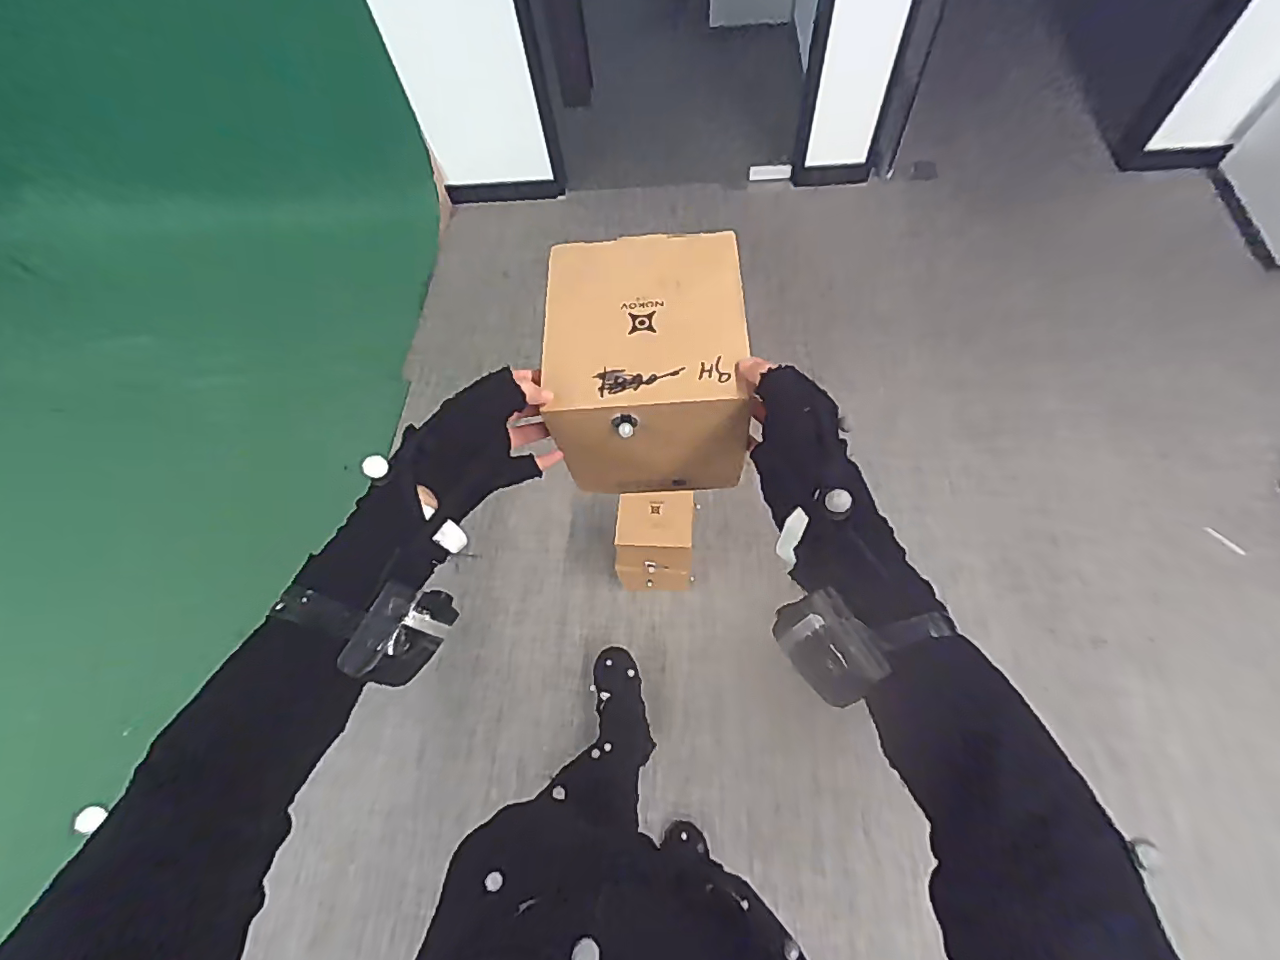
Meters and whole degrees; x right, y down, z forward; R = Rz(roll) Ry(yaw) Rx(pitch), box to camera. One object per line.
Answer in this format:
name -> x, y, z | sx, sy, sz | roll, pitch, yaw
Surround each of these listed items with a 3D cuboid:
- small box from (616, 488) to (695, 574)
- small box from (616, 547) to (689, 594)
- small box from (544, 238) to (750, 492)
small box -> 0.043, 0.107, 1.262 | 0.168, 0.176, 0.179 | 1, 62, 8
small box -> 0.042, 0.191, 1.400 | 0.179, 0.176, 0.168 | 2, 62, 7
small box -> 0.012, -0.103, 0.530 | 0.168, 0.176, 0.179 | -3, 64, 6
